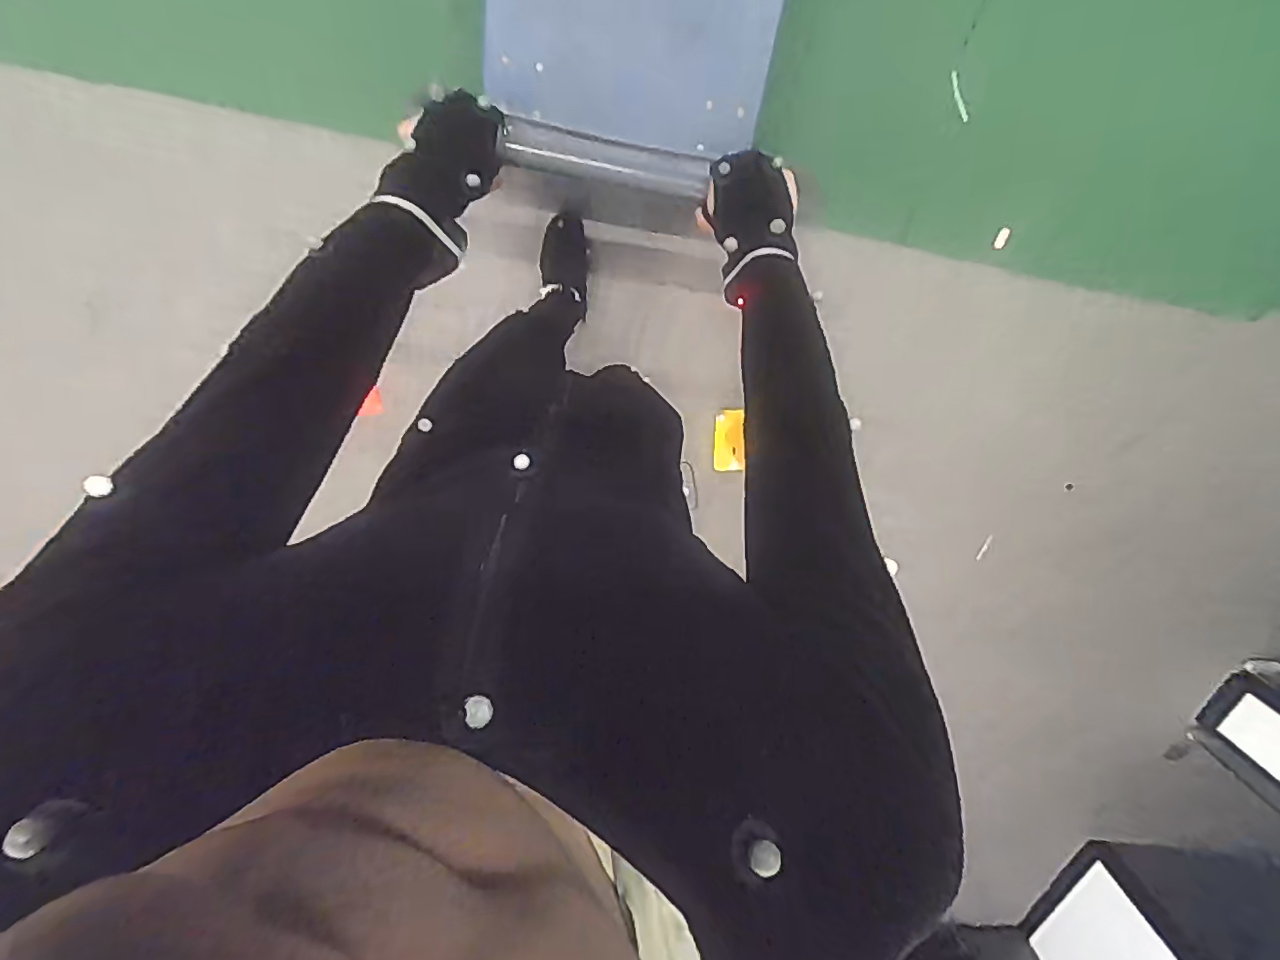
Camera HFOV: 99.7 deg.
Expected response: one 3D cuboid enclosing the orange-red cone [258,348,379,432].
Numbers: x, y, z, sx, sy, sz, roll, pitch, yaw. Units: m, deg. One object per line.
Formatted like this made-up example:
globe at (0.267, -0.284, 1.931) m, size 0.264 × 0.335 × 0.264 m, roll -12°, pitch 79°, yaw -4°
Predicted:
orange-red cone at (-0.827, -0.196, 1.337) m, size 0.199 × 0.360 × 0.198 m, roll -5°, pitch 116°, yaw -1°
